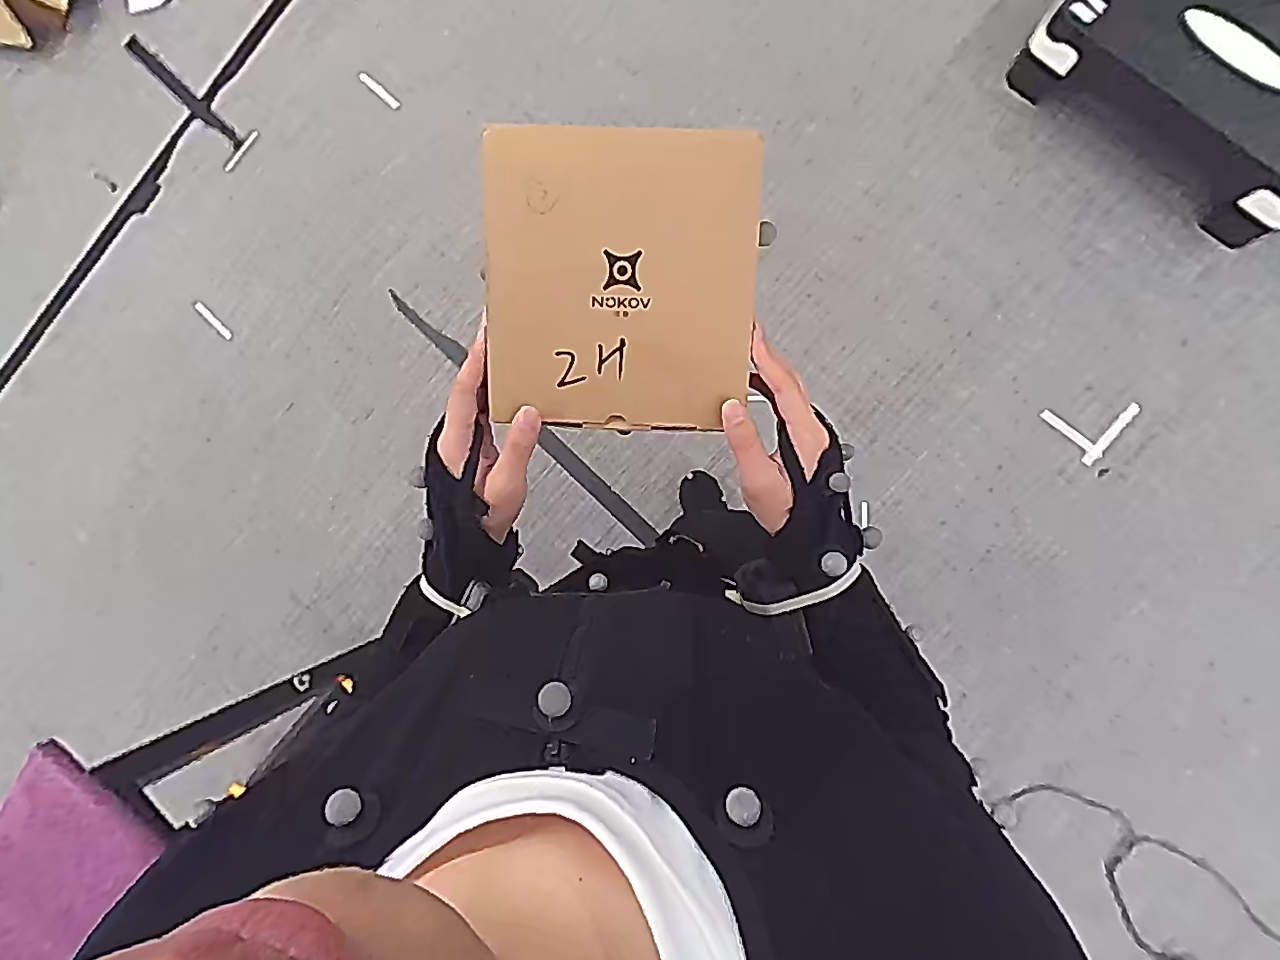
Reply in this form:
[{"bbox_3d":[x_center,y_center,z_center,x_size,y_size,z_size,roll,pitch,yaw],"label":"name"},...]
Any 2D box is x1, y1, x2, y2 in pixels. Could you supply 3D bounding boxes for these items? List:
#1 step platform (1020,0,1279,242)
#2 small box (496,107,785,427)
[{"bbox_3d":[1.209,-0.848,1.154,0.684,0.204,0.286,42,93,7],"label":"step platform"},{"bbox_3d":[-0.001,-0.137,0.402,0.168,0.176,0.179,4,101,1],"label":"small box"}]
